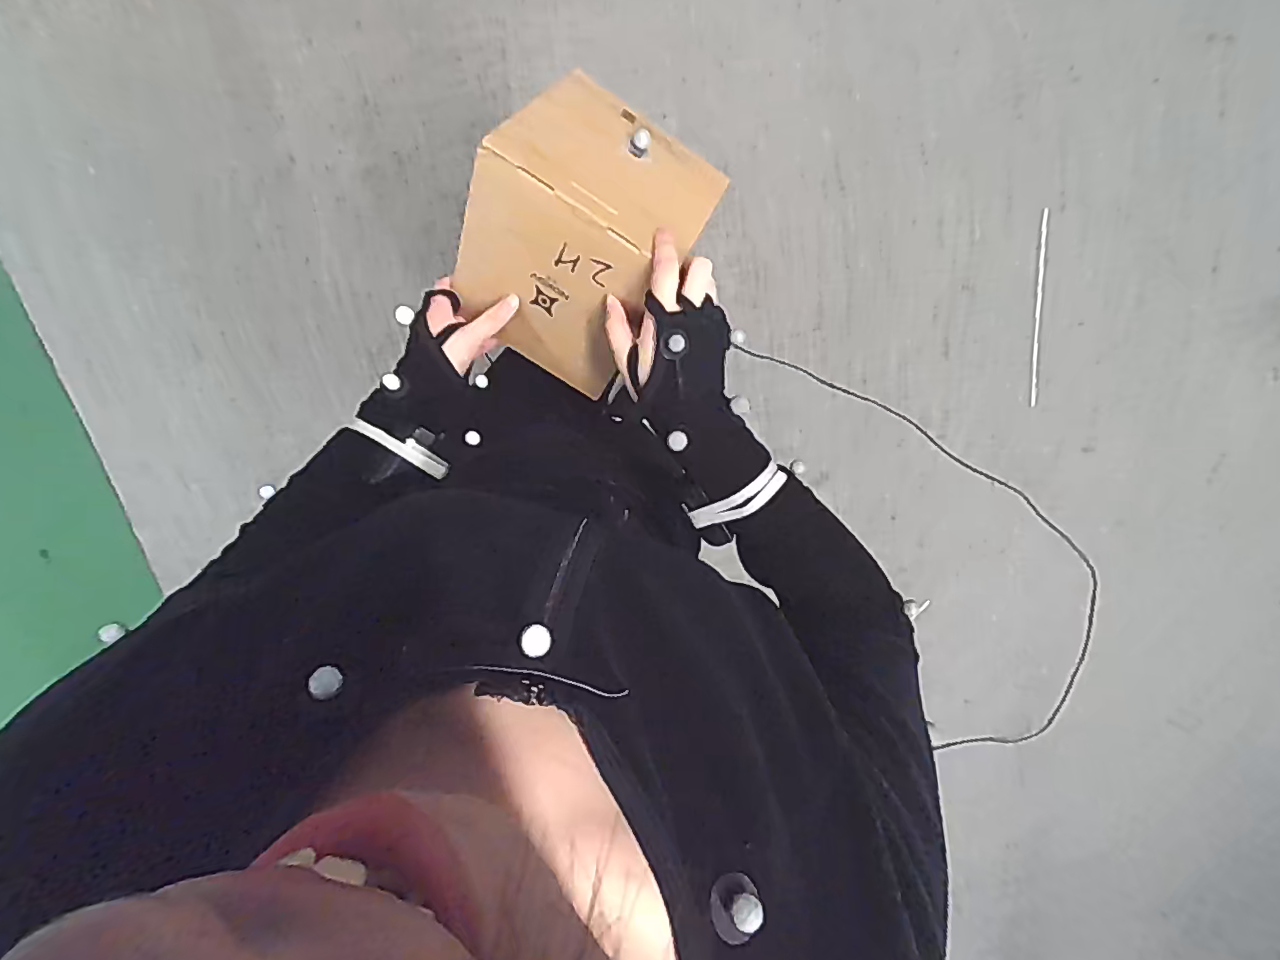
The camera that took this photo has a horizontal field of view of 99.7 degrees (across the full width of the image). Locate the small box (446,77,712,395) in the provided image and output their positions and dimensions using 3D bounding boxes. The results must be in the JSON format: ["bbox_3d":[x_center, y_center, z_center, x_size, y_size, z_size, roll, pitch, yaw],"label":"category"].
[{"bbox_3d":[-0.055,-0.221,0.508,0.168,0.176,0.179,31,144,-10],"label":"small box"}]
